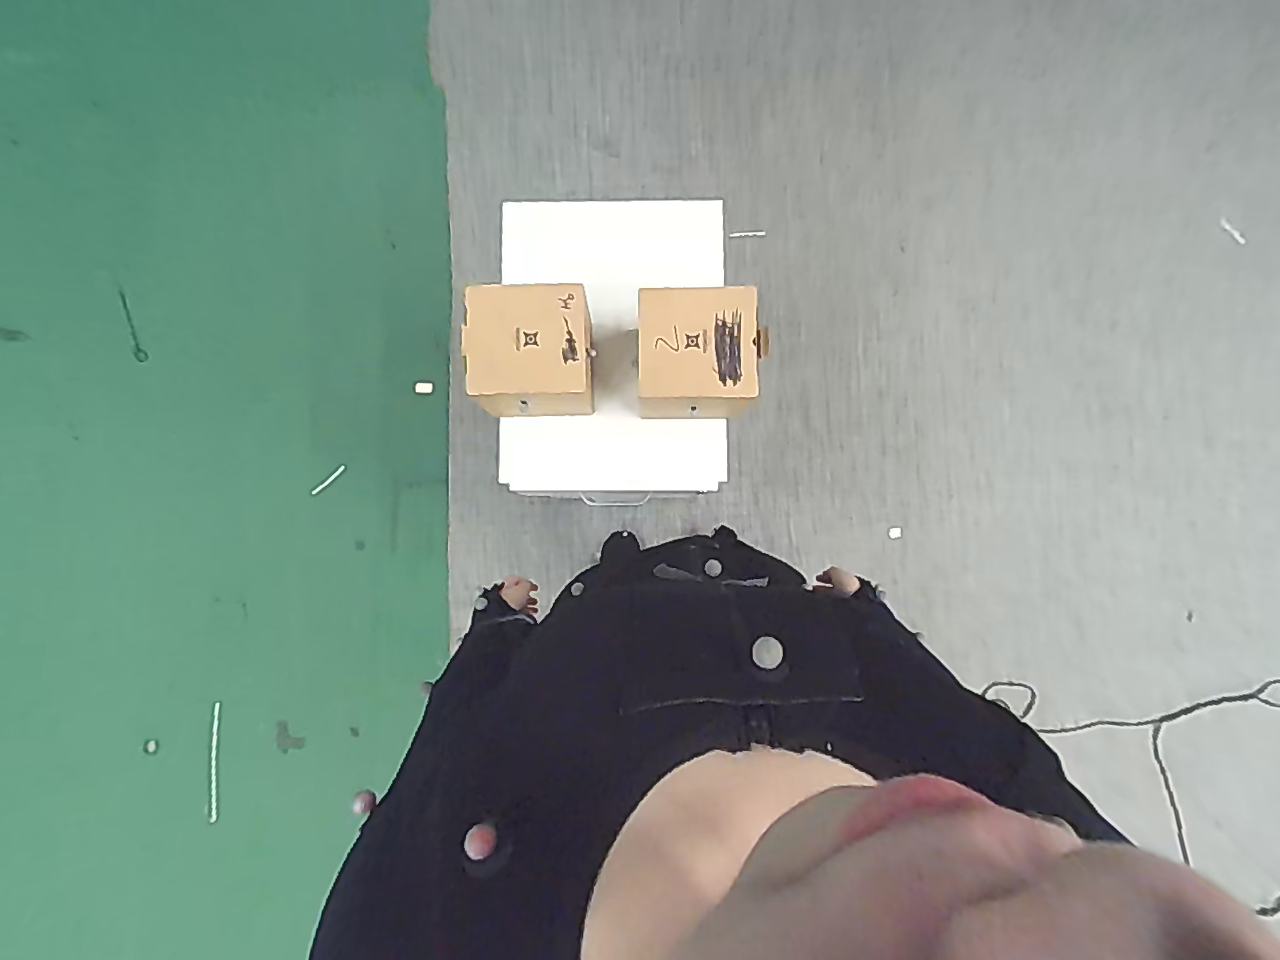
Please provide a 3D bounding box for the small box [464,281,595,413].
[{"bbox_3d":[-0.167,-0.202,0.862,0.179,0.176,0.168,-1,86,-1],"label":"small box"}]
